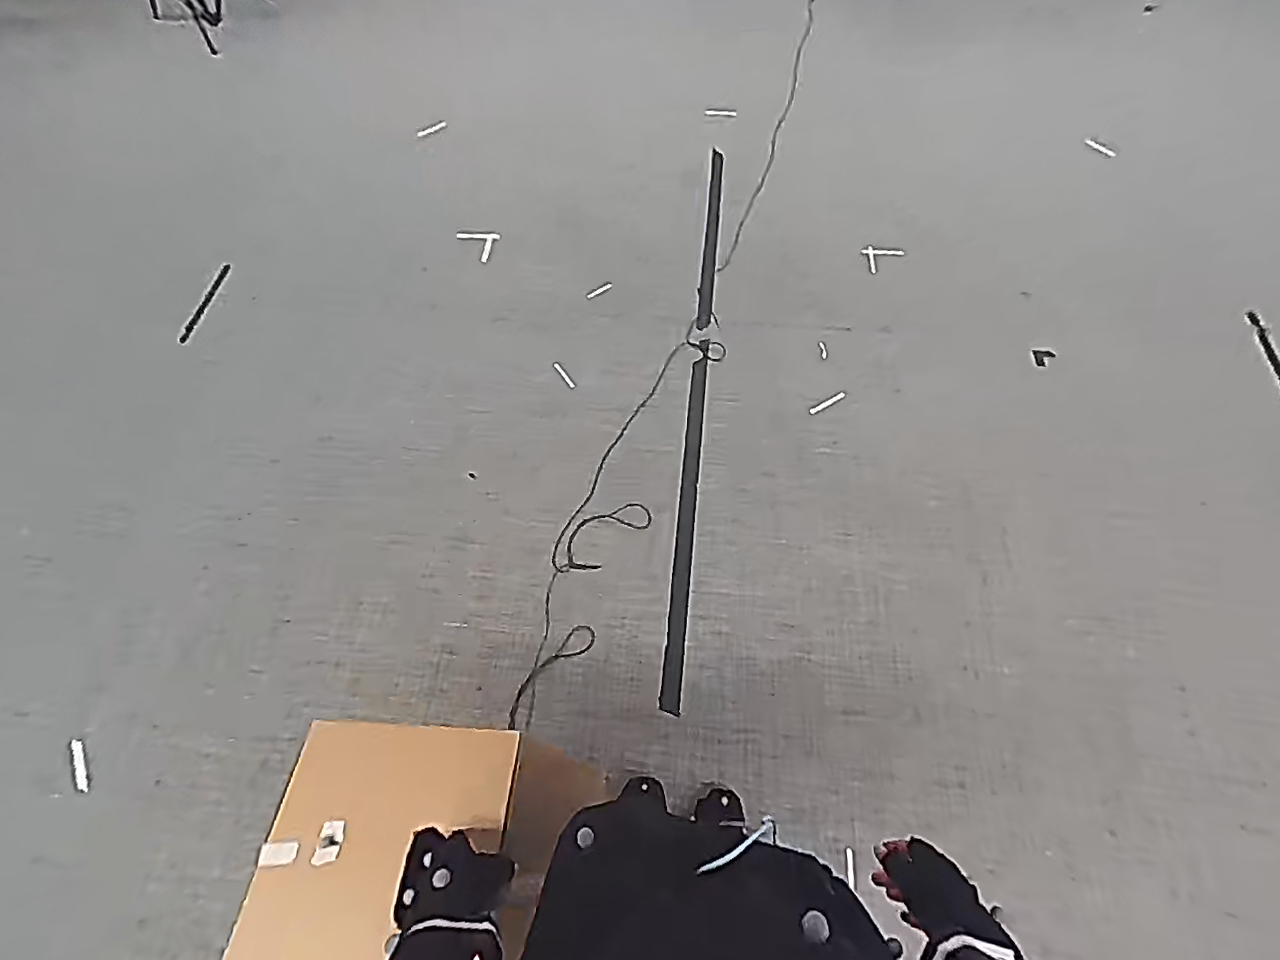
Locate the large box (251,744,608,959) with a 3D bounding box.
[{"bbox_3d":[-0.255,0.576,0.784,0.320,0.408,0.320,-3,56,12],"label":"large box"}]
